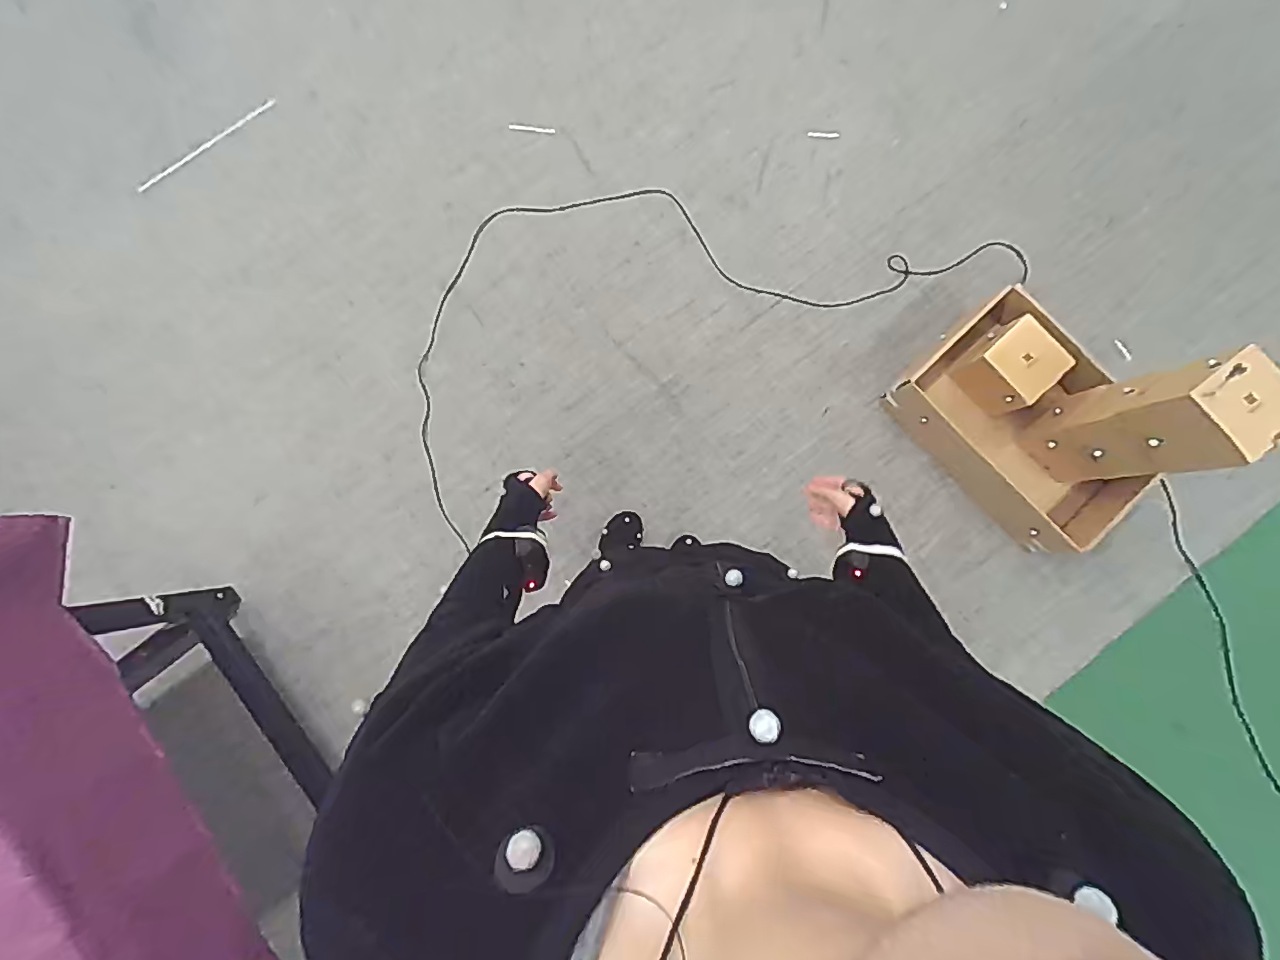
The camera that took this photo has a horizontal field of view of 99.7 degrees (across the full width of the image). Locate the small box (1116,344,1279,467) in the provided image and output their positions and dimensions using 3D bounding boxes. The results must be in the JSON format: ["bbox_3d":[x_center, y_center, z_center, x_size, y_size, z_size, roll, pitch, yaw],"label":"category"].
[{"bbox_3d":[1.144,-0.139,1.096,0.168,0.176,0.179,-37,86,-3],"label":"small box"}]

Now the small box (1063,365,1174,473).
[{"bbox_3d":[1.155,-0.134,1.261,0.179,0.176,0.168,-41,86,-3],"label":"small box"}]

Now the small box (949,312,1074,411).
[{"bbox_3d":[0.976,-0.306,1.439,0.168,0.176,0.179,-43,88,-2],"label":"small box"}]
